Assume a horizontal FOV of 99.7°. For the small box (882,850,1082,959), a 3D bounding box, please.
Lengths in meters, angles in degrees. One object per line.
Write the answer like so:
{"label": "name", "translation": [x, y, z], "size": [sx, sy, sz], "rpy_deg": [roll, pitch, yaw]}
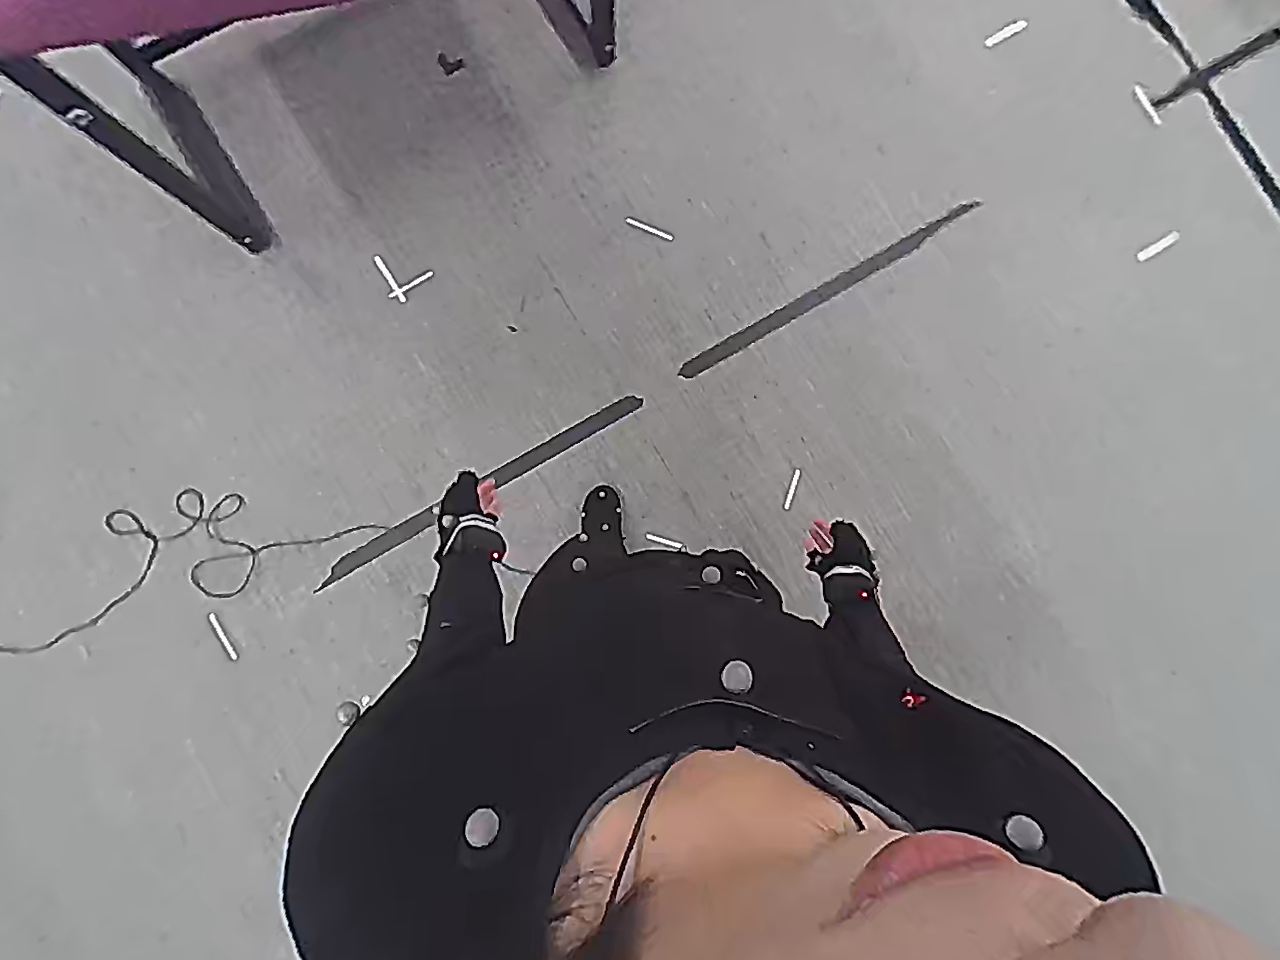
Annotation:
{"label": "small box", "translation": [0.498, 0.699, 0.802], "size": [0.179, 0.176, 0.168], "rpy_deg": [28, 86, 2]}
